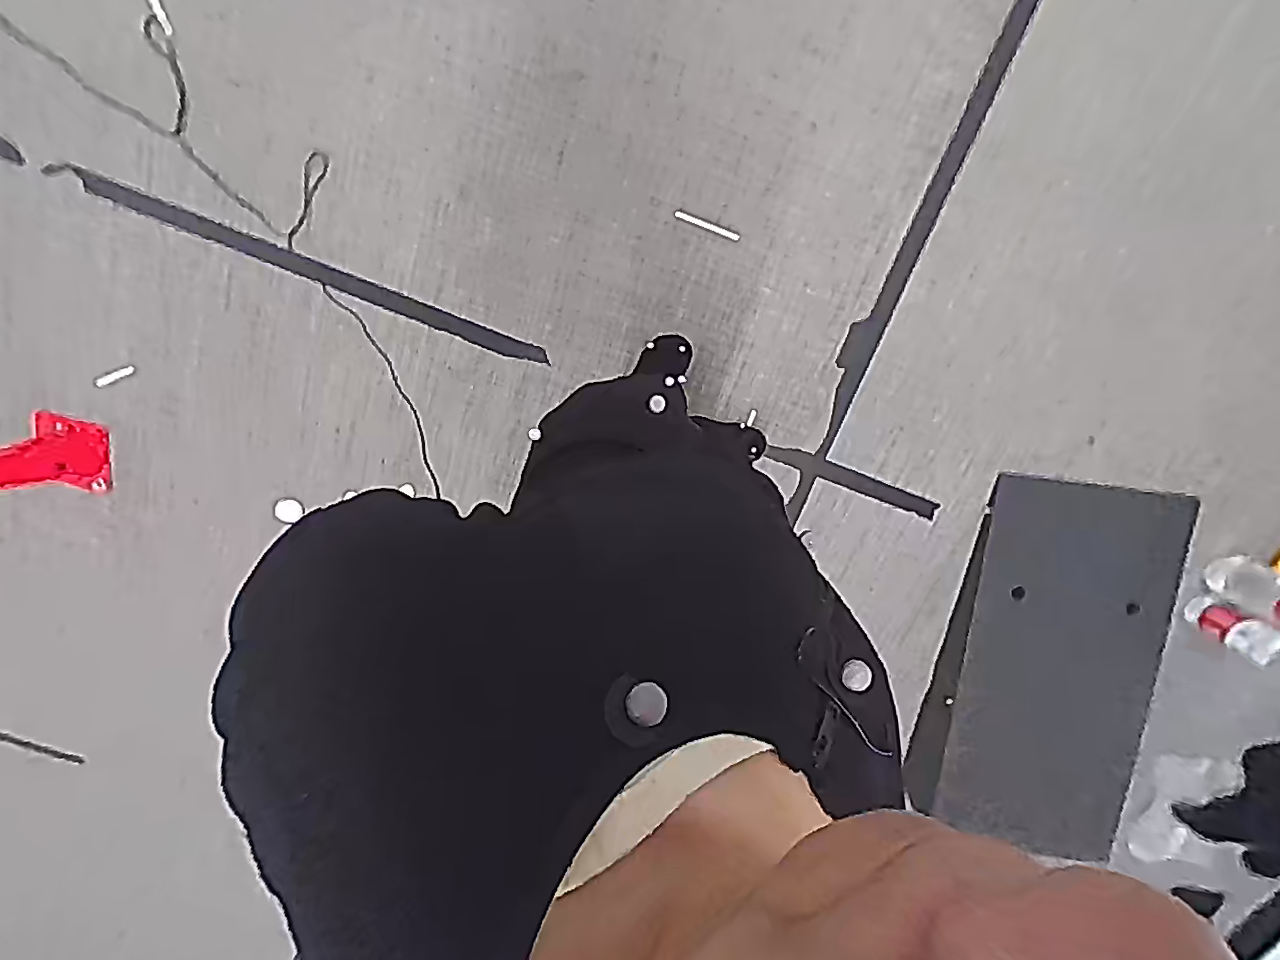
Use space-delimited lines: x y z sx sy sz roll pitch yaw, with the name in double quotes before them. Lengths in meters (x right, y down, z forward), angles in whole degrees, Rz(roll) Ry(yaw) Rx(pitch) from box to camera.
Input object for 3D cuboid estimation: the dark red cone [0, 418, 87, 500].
"dark red cone" -1.560 -0.010 1.264 0.202 0.394 0.201 13 106 -1
